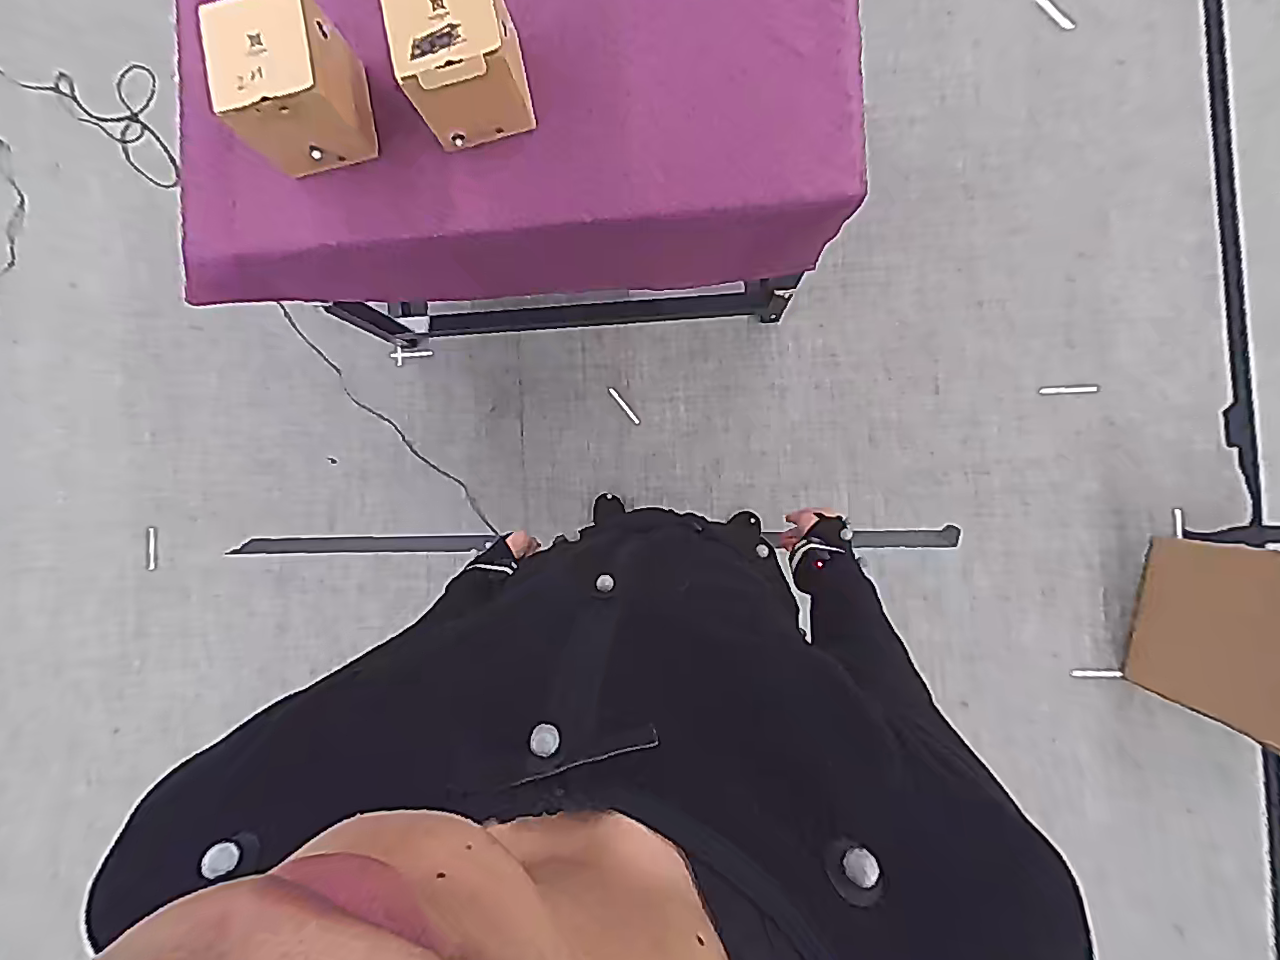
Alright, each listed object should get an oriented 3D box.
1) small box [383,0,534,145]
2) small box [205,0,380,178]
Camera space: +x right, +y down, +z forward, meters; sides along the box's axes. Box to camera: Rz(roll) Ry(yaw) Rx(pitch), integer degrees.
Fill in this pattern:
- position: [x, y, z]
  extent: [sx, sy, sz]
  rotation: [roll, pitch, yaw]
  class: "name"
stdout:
- position: [-0.281, -0.675, 0.868]
  extent: [0.168, 0.176, 0.179]
  rotation: [-12, 87, 5]
  class: "small box"
- position: [-0.561, -0.643, 0.892]
  extent: [0.168, 0.176, 0.179]
  rotation: [-11, 88, 5]
  class: "small box"
